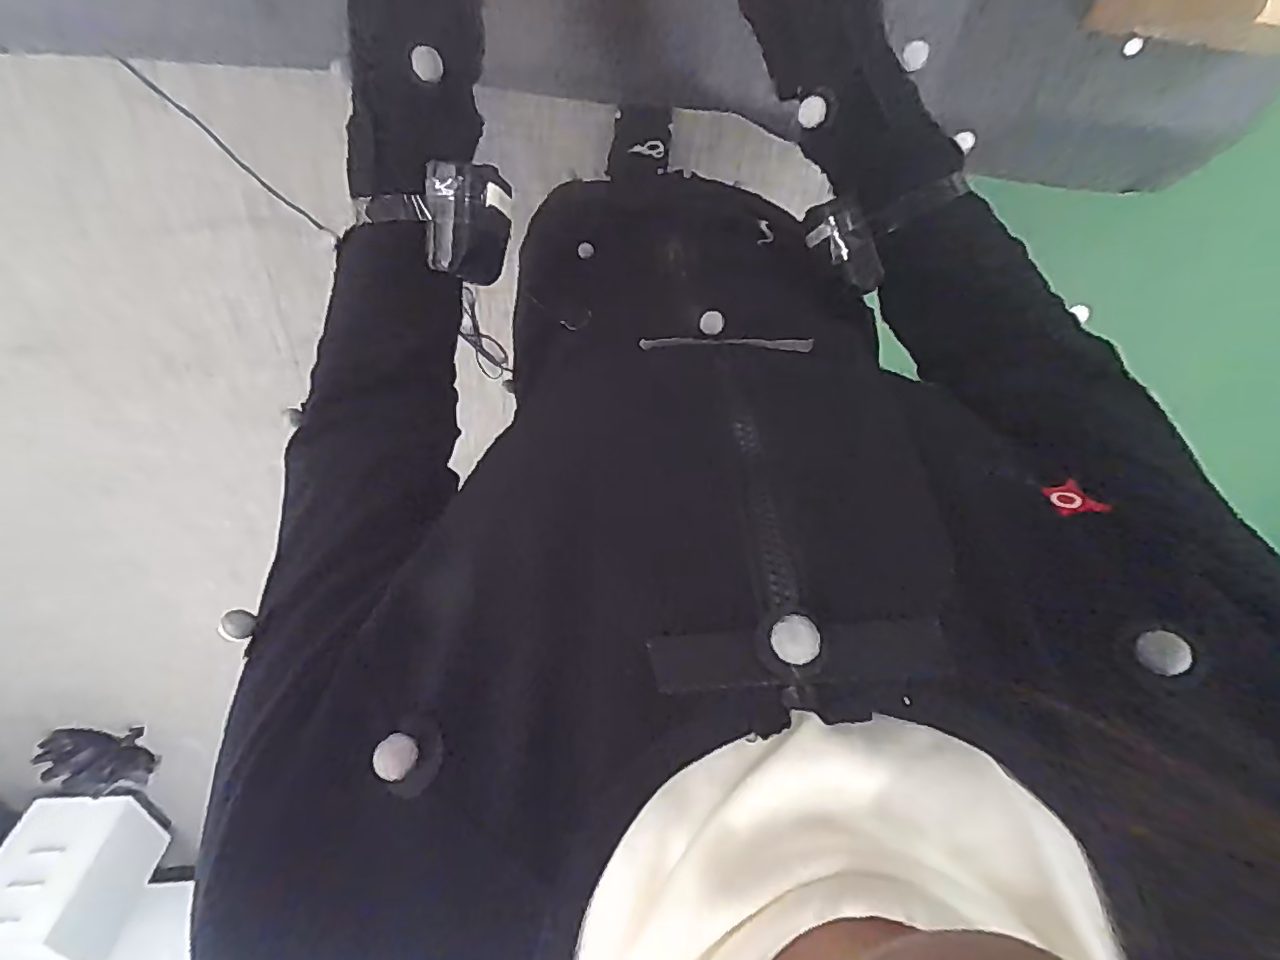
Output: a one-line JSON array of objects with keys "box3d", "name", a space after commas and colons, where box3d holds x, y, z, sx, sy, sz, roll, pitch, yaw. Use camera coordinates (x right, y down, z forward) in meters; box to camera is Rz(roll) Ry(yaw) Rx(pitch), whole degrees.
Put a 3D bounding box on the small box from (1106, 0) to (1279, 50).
[{"box3d": [0.475, -0.407, 0.362, 0.168, 0.176, 0.179, 3, 127, -5], "name": "small box"}]
